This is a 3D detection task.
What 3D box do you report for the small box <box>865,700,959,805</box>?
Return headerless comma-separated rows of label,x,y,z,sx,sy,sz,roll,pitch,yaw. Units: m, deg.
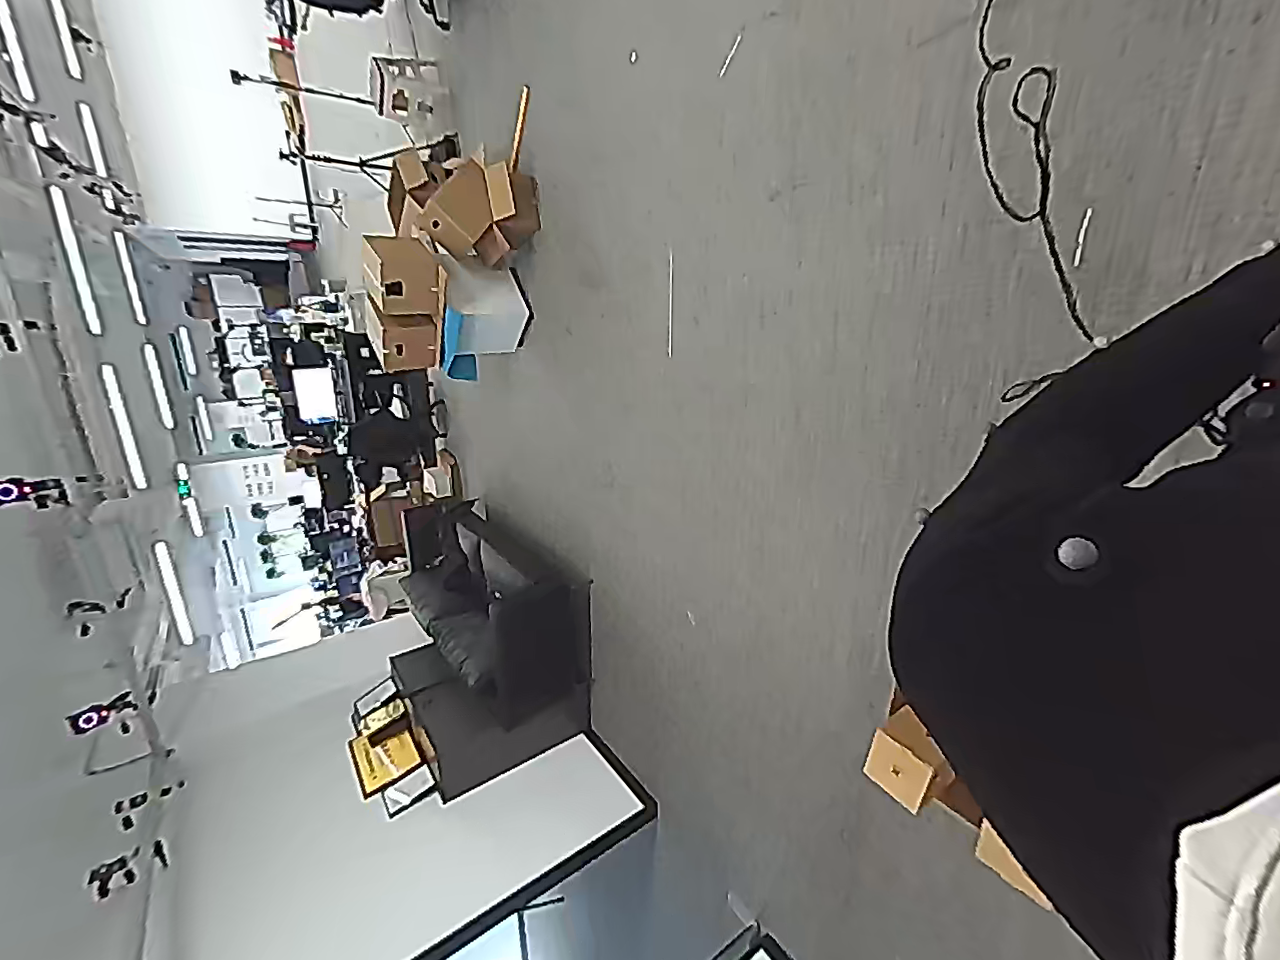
small box,0.785,0.778,1.559,0.168,0.176,0.179,30,123,47
